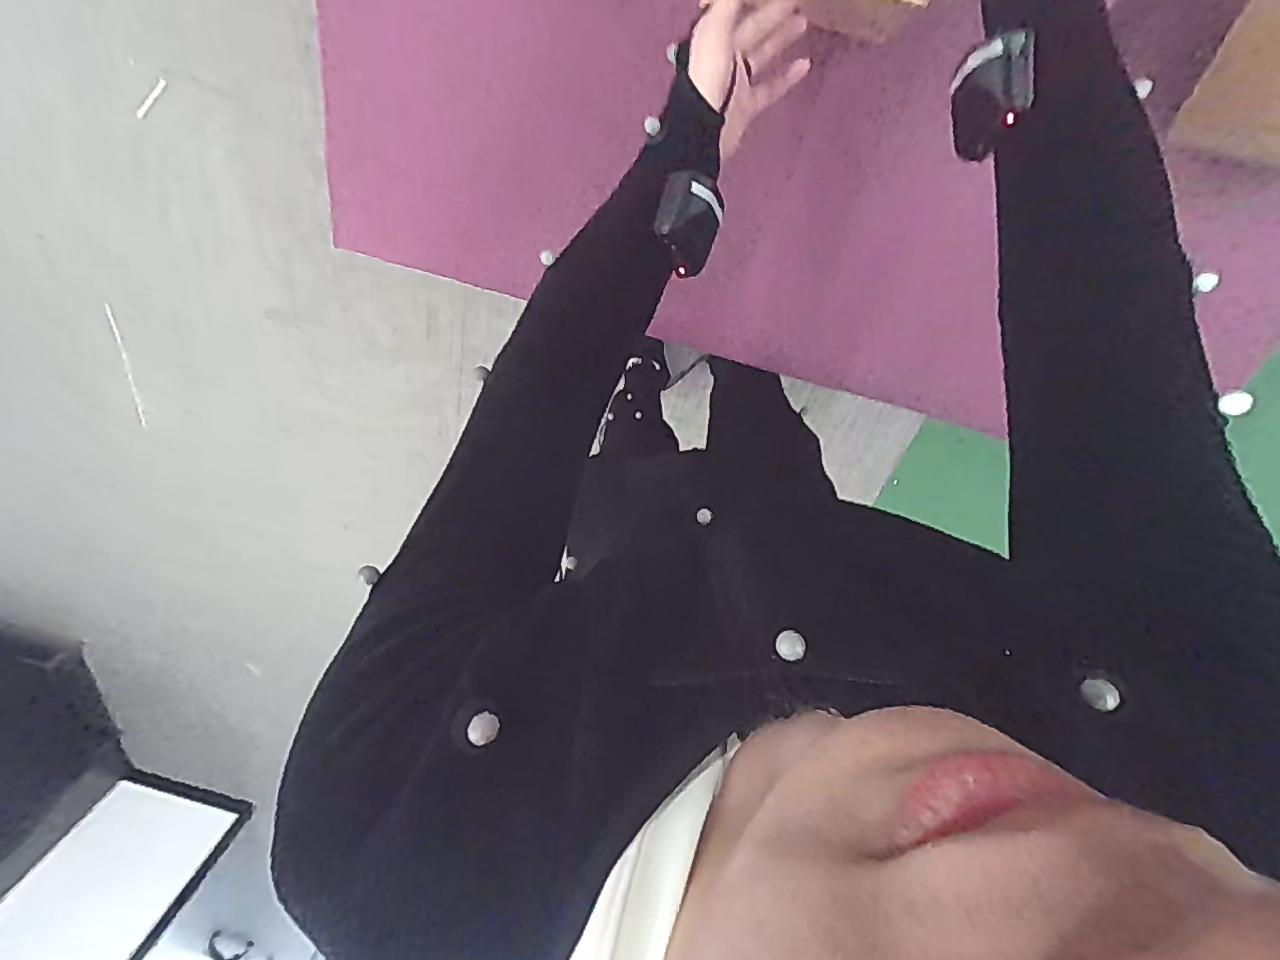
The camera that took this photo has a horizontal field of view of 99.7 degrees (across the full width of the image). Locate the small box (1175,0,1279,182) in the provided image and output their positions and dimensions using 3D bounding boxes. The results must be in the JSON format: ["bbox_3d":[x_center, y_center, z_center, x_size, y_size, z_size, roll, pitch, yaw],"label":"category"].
[{"bbox_3d":[0.635,-0.363,0.458,0.168,0.176,0.179,16,121,2],"label":"small box"}]

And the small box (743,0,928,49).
[{"bbox_3d":[0.186,-0.510,0.462,0.168,0.176,0.179,17,122,1],"label":"small box"}]
